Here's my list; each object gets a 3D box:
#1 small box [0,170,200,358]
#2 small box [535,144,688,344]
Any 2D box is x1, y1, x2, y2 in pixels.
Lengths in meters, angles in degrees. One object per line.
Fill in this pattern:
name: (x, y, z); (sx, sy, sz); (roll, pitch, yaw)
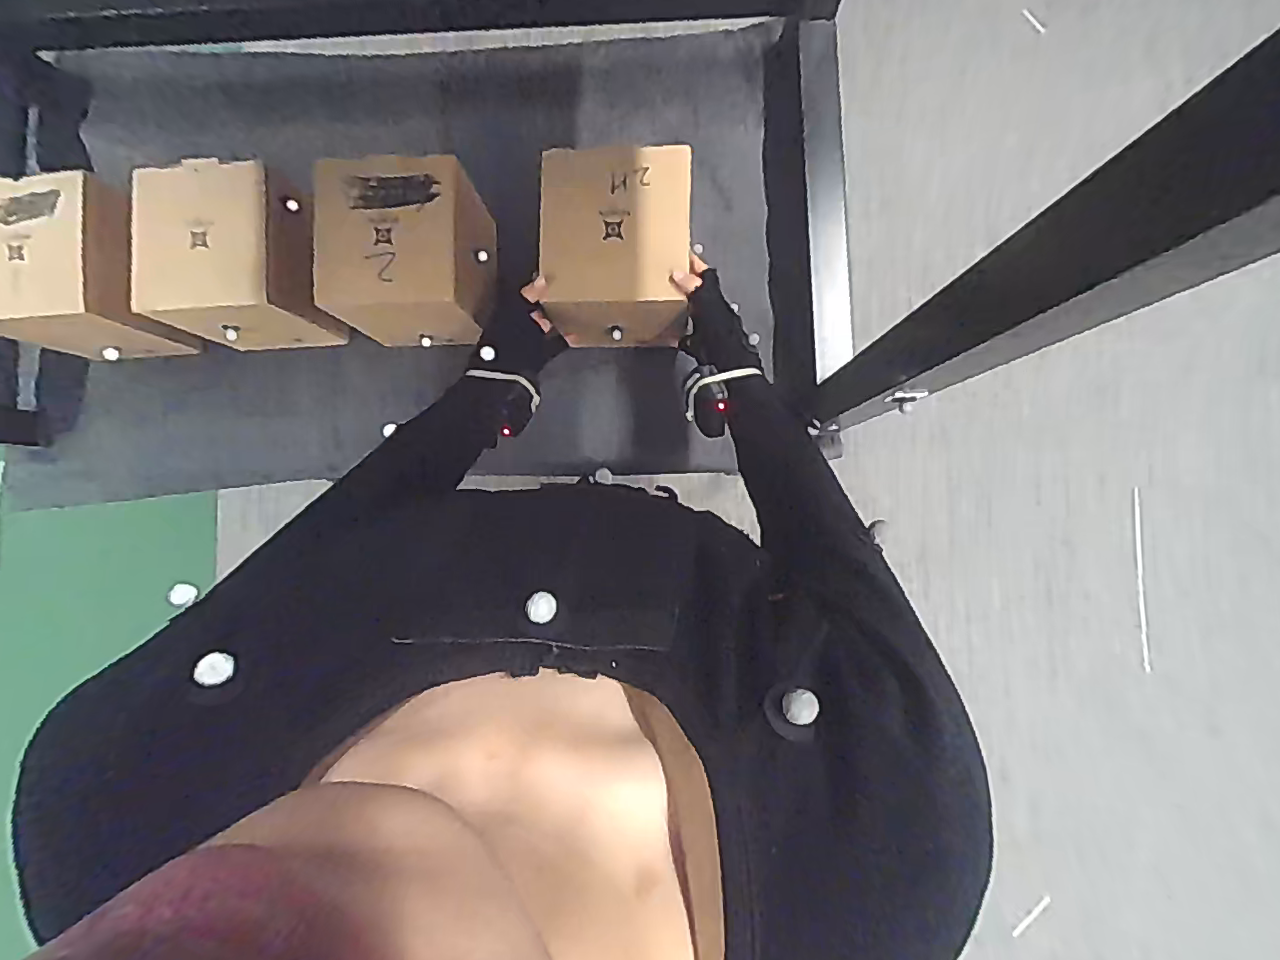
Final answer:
small box: (-0.729, -0.273, 0.717); (0.168, 0.176, 0.179); (-3, 87, 2)
small box: (-0.025, -0.274, 0.665); (0.168, 0.176, 0.179); (1, 87, 4)
